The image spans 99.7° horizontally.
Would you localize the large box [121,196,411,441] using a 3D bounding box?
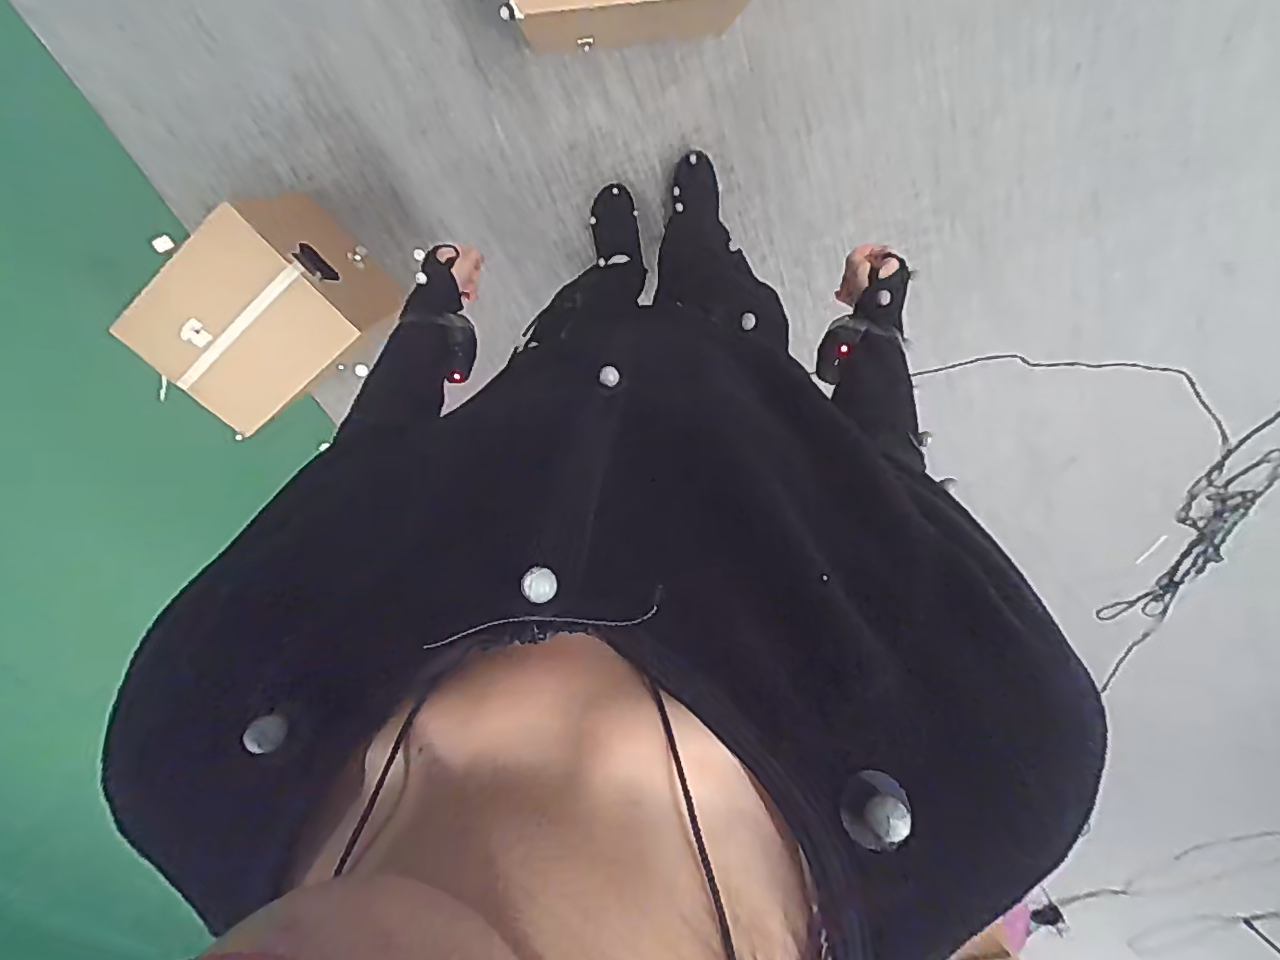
[{"bbox_3d":[-0.814,-0.372,1.230,0.408,0.320,0.320,-33,115,17],"label":"large box"}]
